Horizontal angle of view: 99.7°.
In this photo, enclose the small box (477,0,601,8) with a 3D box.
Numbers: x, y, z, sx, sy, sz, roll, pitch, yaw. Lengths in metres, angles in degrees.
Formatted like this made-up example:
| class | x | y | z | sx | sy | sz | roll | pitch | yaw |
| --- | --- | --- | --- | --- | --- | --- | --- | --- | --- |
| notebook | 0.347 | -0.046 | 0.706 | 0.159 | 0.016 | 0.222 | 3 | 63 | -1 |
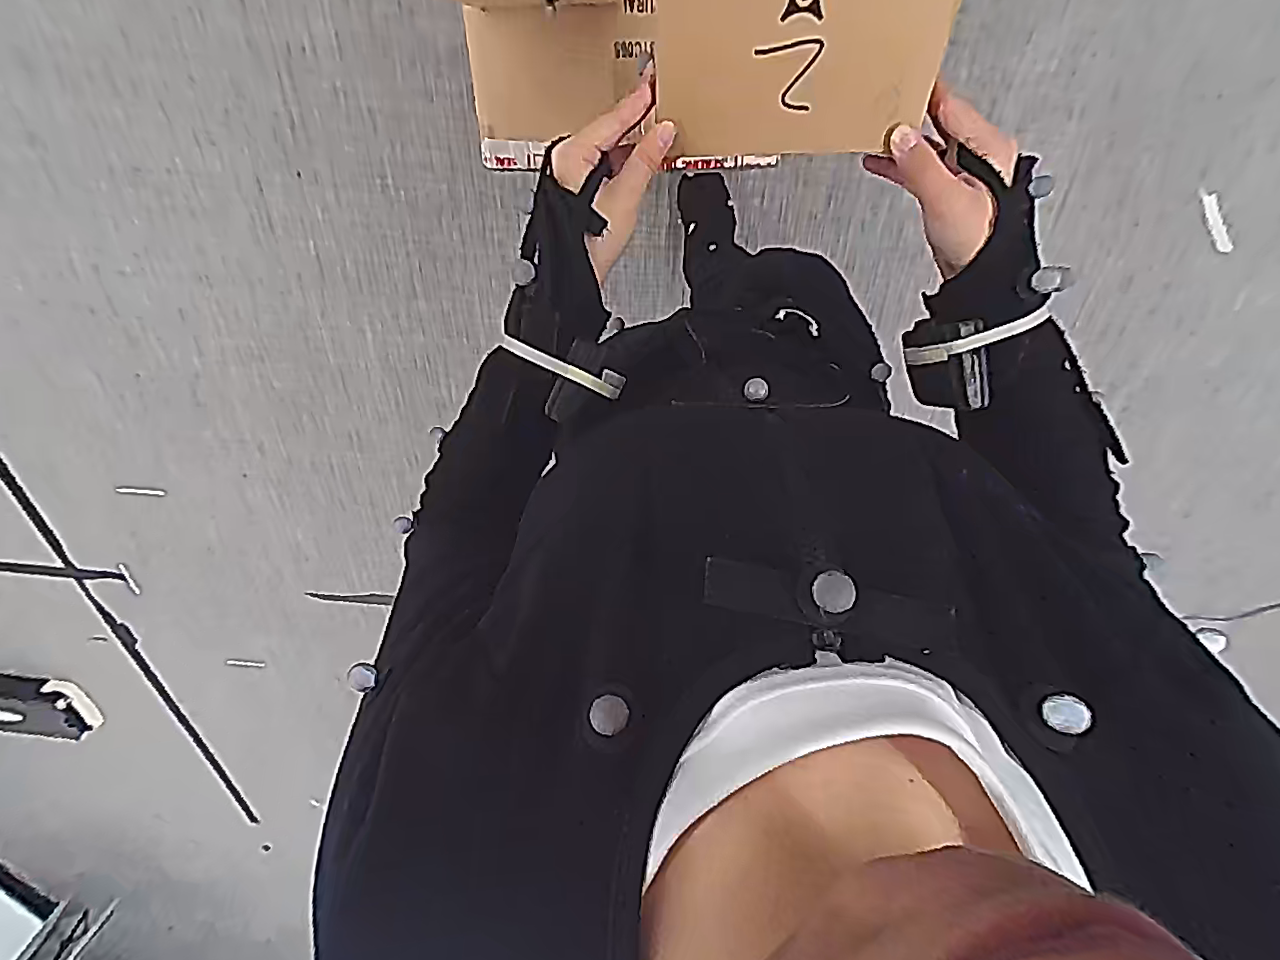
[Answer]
| class | x | y | z | sx | sy | sz | roll | pitch | yaw |
| --- | --- | --- | --- | --- | --- | --- | --- | --- | --- |
| small box | -0.114 | -0.566 | 0.507 | 0.179 | 0.176 | 0.168 | 3 | 124 | 6 |
